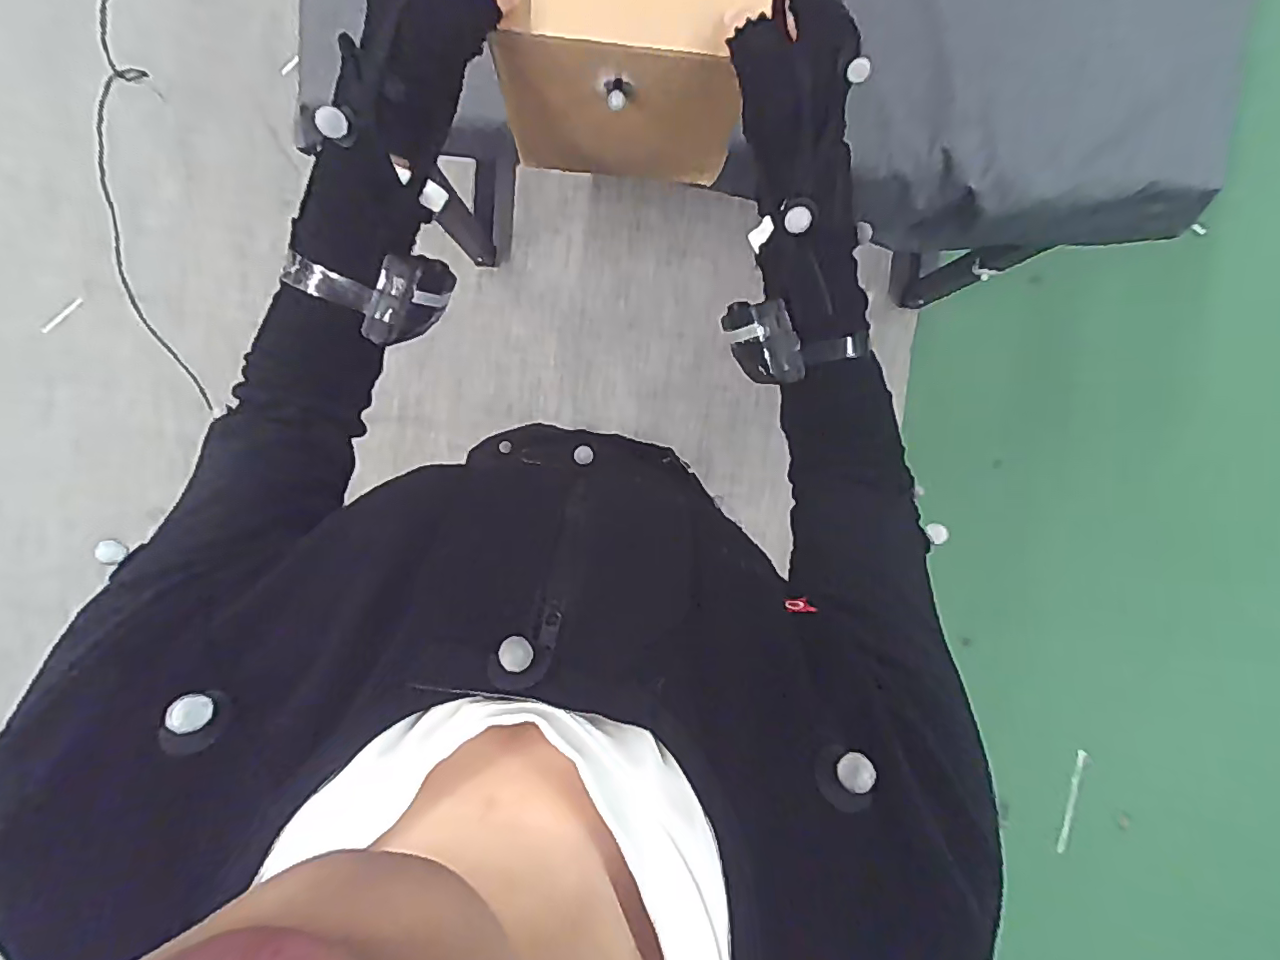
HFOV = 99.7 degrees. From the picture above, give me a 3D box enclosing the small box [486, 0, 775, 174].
[{"bbox_3d":[-0.005,-0.353,0.400,0.179,0.176,0.168,3,95,-5],"label":"small box"}]
